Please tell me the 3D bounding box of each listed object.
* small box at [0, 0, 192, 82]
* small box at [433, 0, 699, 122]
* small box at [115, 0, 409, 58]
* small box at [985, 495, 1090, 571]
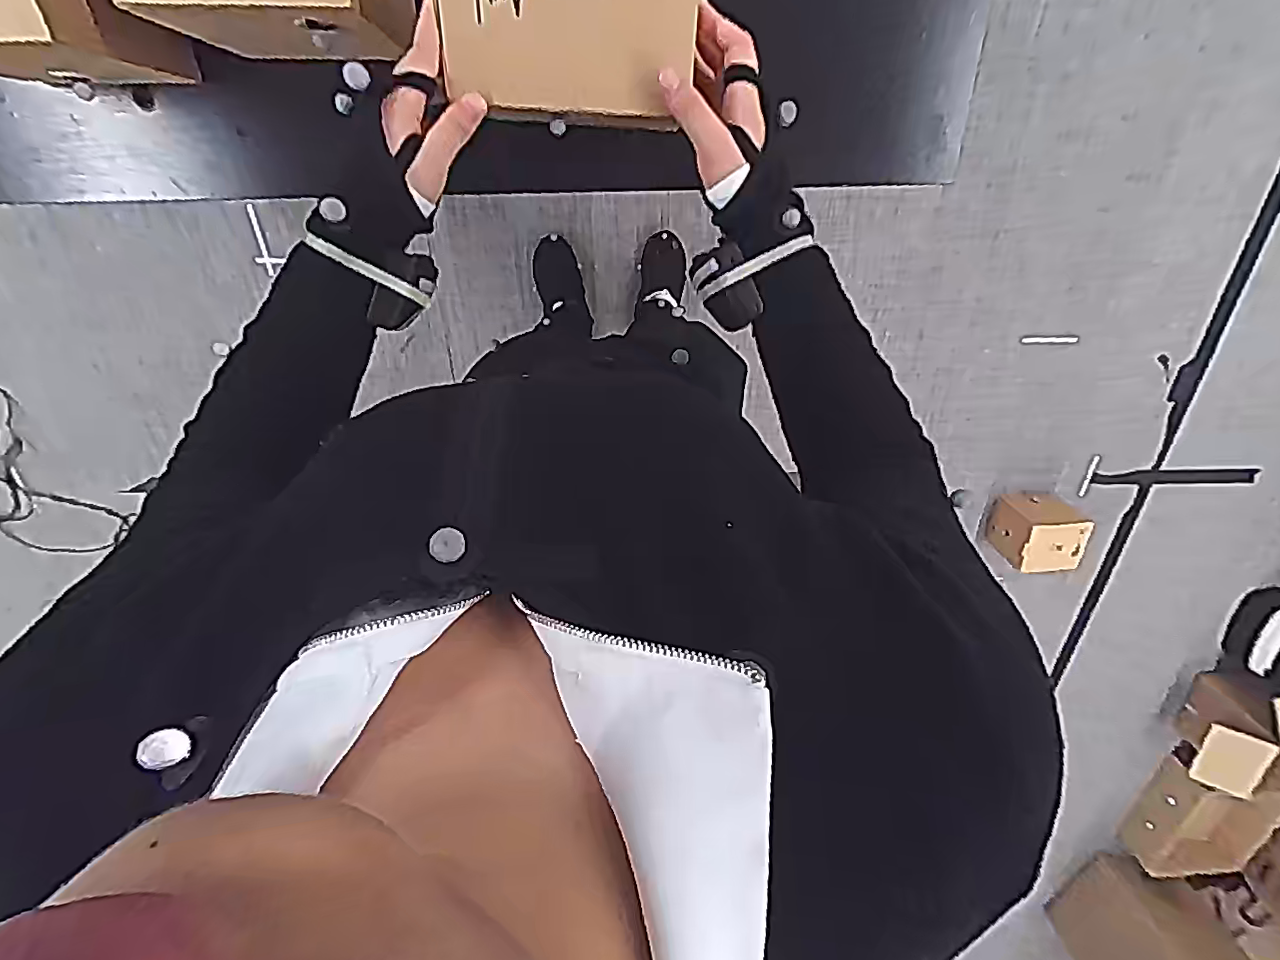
[{"bbox_3d":[-0.519,-0.437,0.426,0.168,0.176,0.179,-1,118,0],"label":"small box"},{"bbox_3d":[-0.046,-0.374,0.403,0.179,0.176,0.168,3,121,-2],"label":"small box"},{"bbox_3d":[-0.299,-0.455,0.425,0.179,0.176,0.168,-1,117,-2],"label":"small box"},{"bbox_3d":[1.185,0.156,1.631,0.179,0.176,0.168,-3,118,0],"label":"small box"}]
